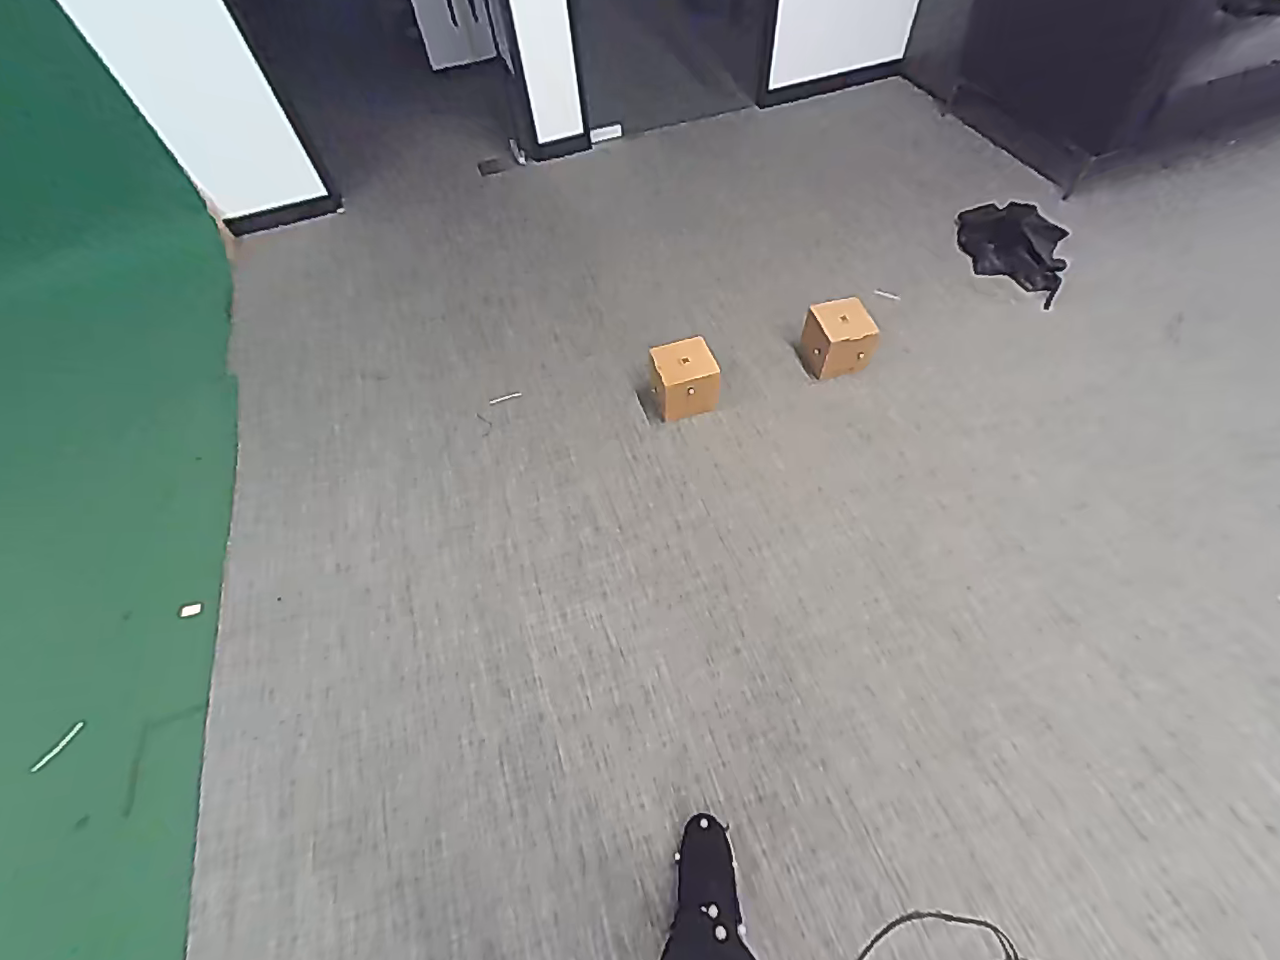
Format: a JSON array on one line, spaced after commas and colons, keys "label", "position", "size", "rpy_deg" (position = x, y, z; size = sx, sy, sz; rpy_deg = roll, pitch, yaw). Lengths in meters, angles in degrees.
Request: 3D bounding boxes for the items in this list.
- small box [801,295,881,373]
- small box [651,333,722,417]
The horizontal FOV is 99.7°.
[{"label": "small box", "position": [0.640, -0.463, 1.740], "size": [0.168, 0.176, 0.179], "rpy_deg": [-12, 57, -6]}, {"label": "small box", "position": [0.139, -0.323, 1.683], "size": [0.179, 0.176, 0.168], "rpy_deg": [-16, 58, -6]}]
